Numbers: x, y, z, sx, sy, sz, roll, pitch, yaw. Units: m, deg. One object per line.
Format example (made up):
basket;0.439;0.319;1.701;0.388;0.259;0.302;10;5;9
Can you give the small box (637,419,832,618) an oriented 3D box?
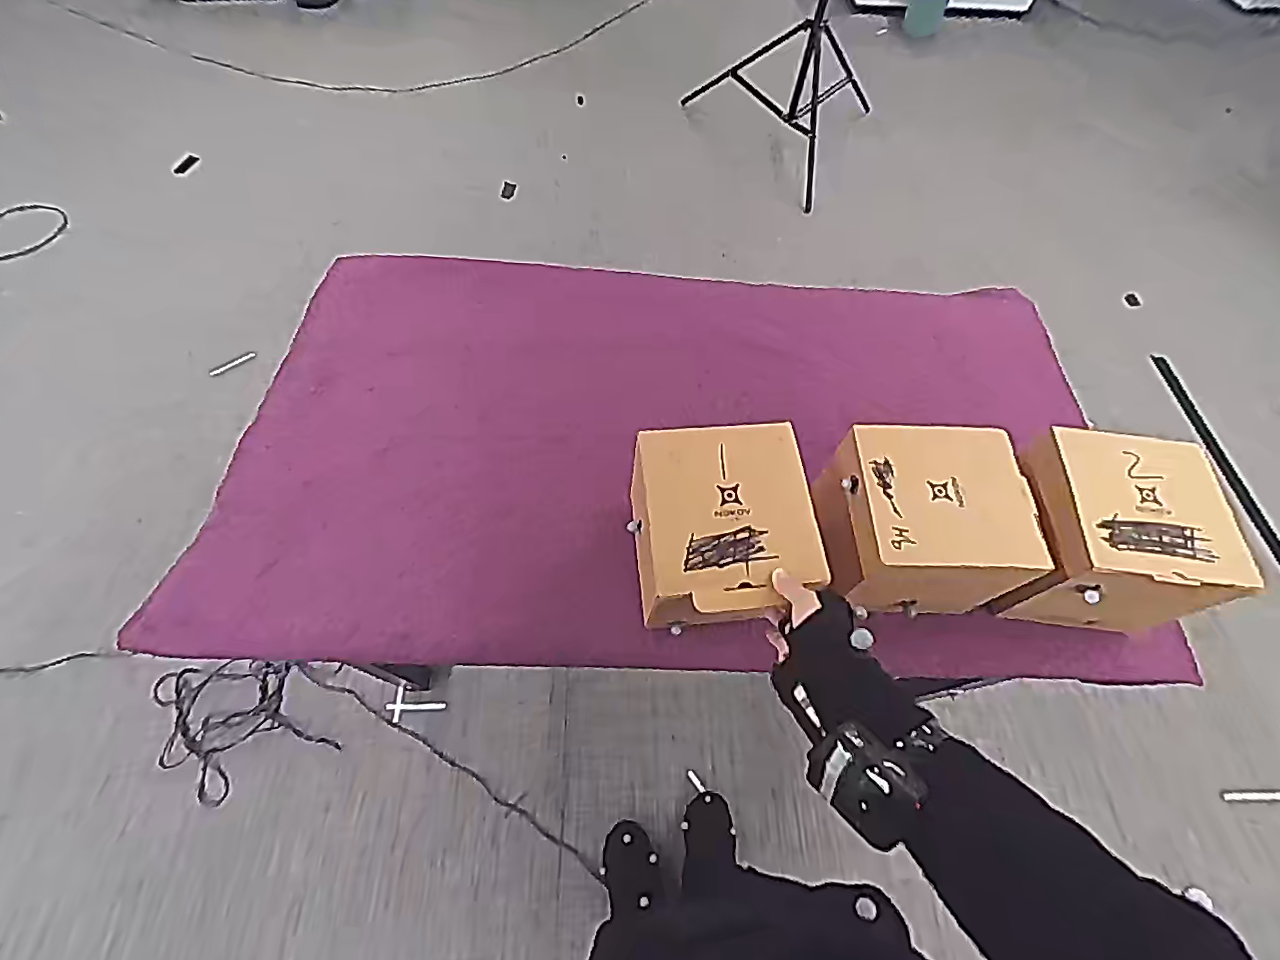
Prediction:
small box;0.087;0.052;0.599;0.168;0.176;0.179;-4;65;-5
